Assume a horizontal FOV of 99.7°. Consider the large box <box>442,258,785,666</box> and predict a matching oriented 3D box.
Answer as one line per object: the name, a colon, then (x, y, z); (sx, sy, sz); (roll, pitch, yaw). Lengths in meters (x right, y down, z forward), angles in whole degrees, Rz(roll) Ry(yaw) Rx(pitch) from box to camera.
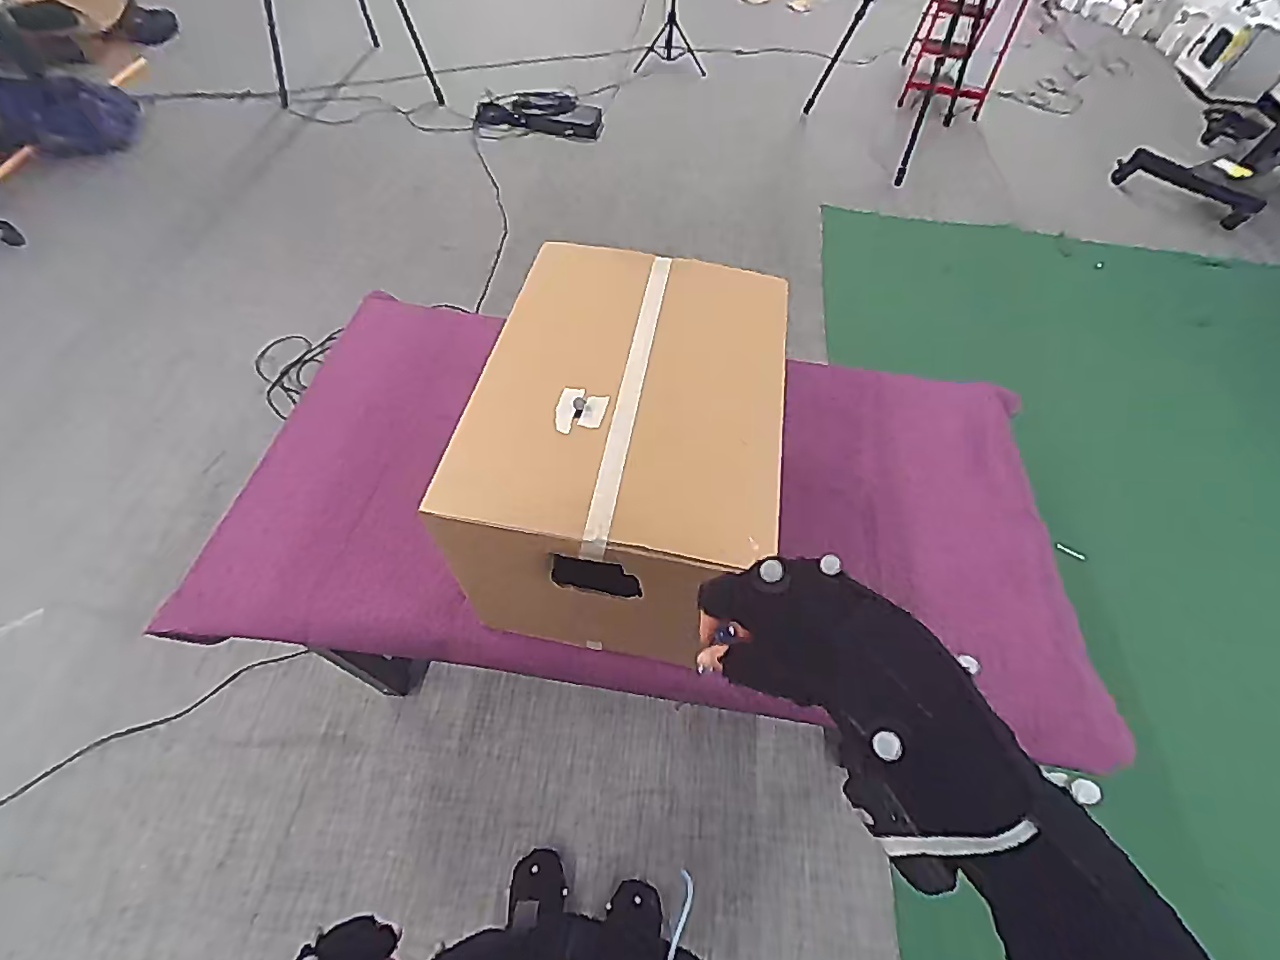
large box: (-0.010, -0.017, 0.713); (0.320, 0.320, 0.408); (11, 57, 3)
